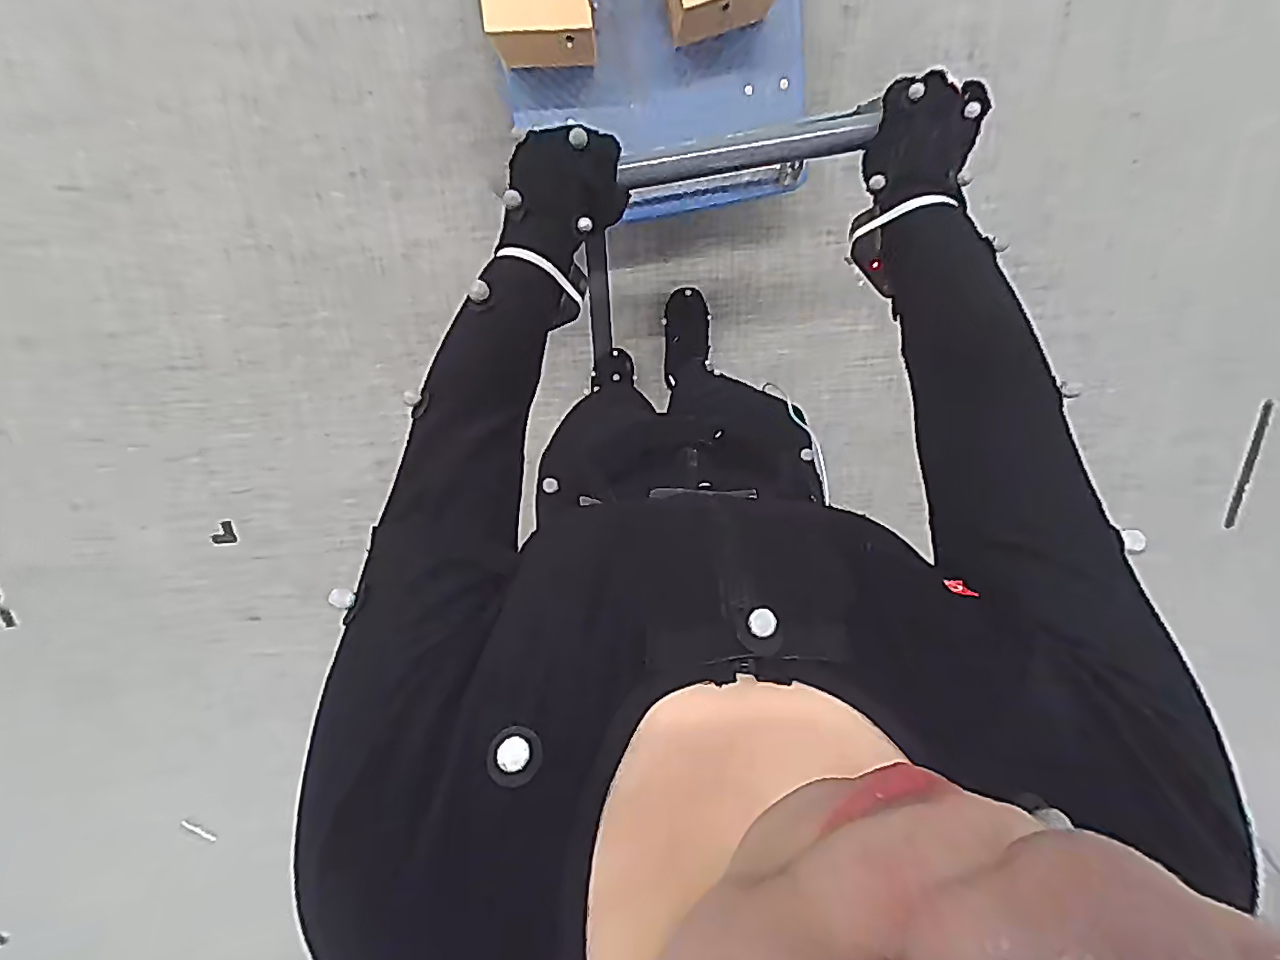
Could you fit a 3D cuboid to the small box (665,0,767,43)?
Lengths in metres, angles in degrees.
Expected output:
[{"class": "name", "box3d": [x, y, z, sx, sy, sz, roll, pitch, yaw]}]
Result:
[{"class": "small box", "box3d": [0.124, -0.875, 0.902, 0.179, 0.176, 0.168, -15, 112, 4]}]

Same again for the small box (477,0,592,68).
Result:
[{"class": "small box", "box3d": [-0.176, -0.824, 0.913, 0.179, 0.176, 0.168, -4, 111, -2]}]
